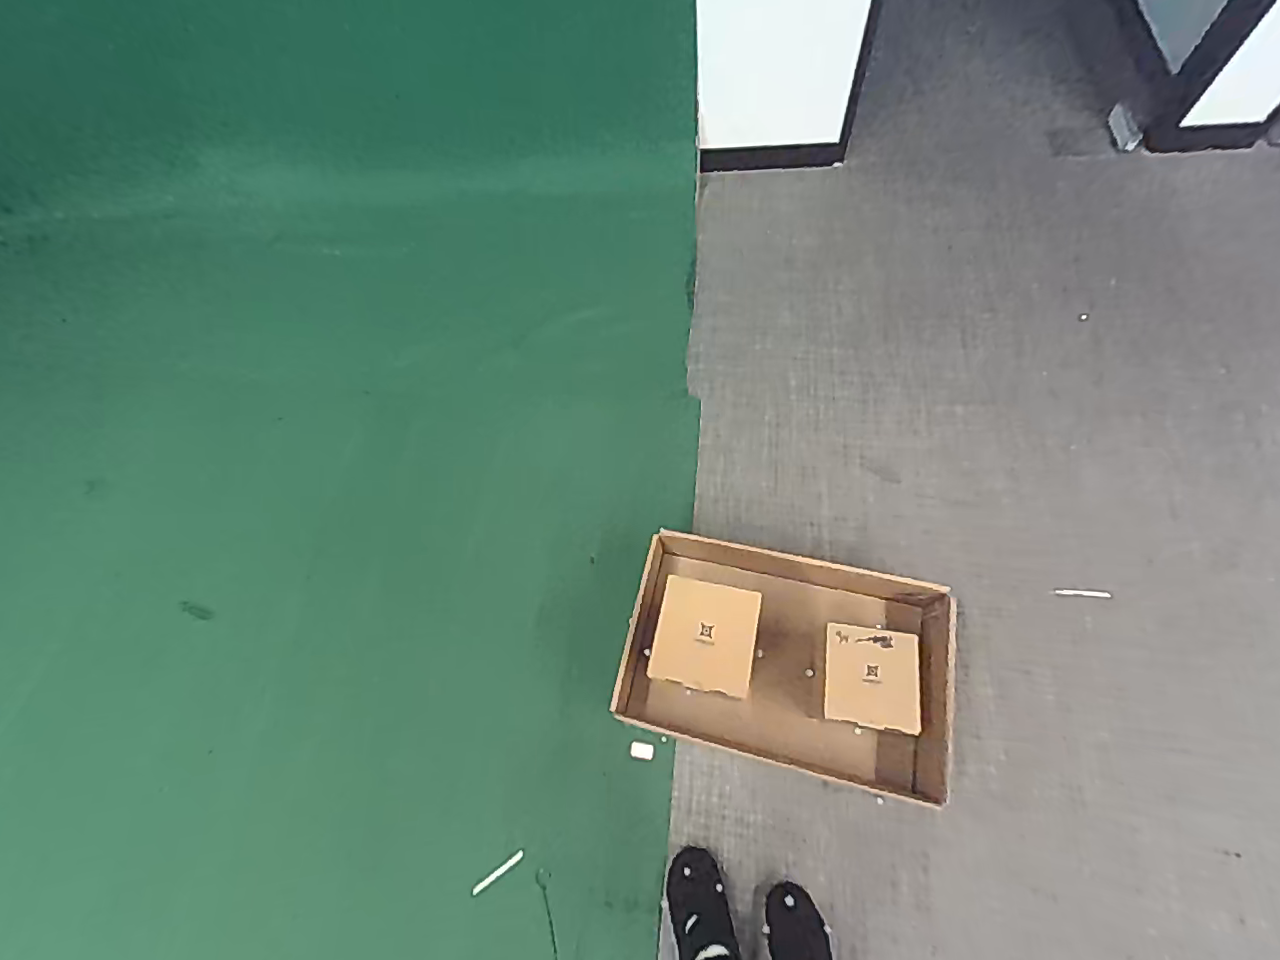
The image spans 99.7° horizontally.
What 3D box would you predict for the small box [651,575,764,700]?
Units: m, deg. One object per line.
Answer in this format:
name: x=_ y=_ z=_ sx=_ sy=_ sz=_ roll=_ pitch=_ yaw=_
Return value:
small box: x=0.122 y=0.289 z=0.978 sx=0.168 sy=0.176 sz=0.179 roll=10 pitch=70 yaw=10
